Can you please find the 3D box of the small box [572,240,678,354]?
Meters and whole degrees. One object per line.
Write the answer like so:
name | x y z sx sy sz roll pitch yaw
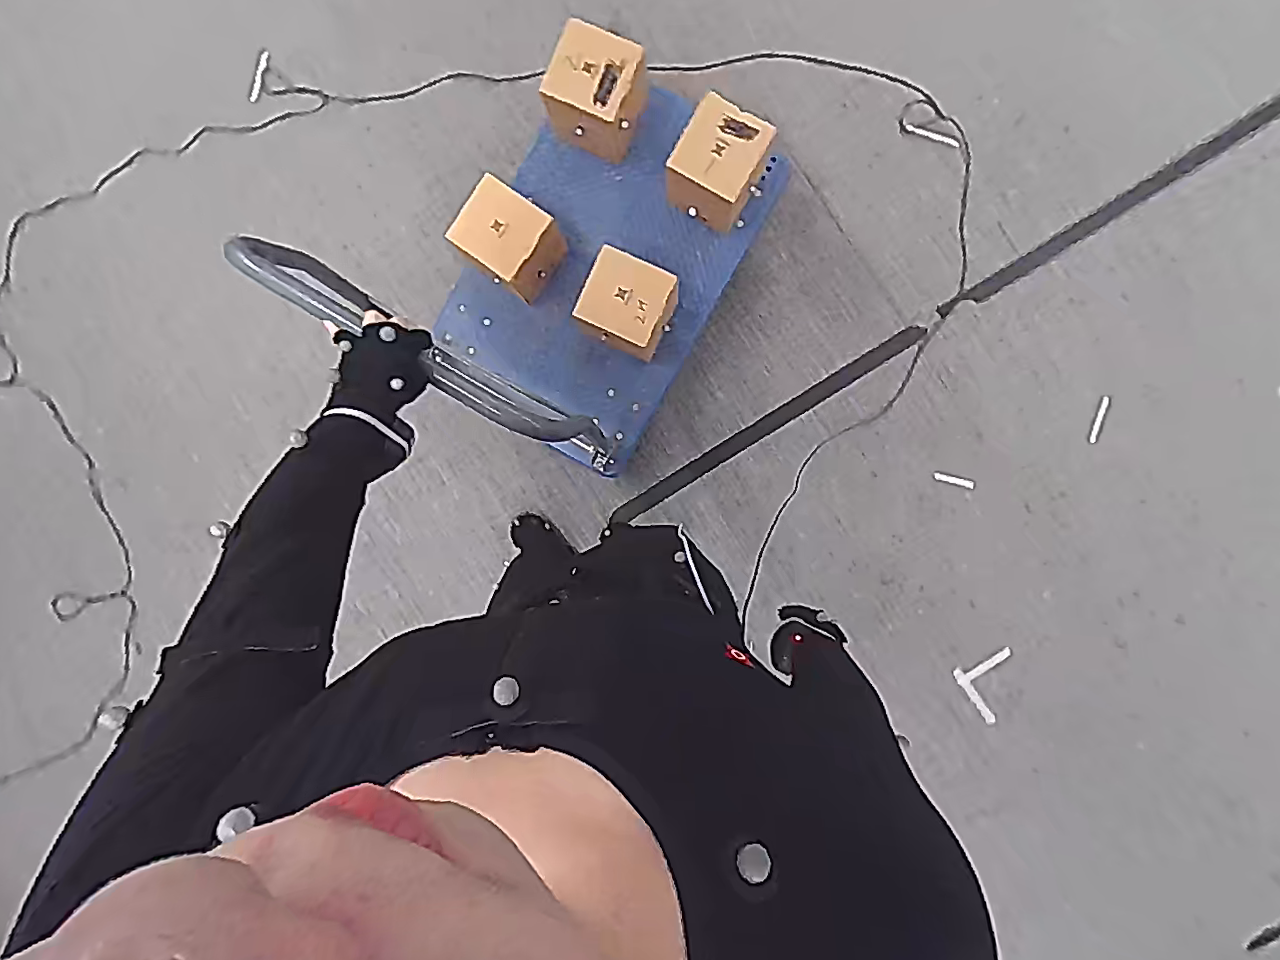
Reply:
small box | -0.027 -0.398 1.212 0.179 0.176 0.168 26 94 3

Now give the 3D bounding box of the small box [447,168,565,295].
small box | -0.294 -0.549 1.223 0.179 0.176 0.168 35 94 0

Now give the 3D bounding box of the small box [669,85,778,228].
small box | 0.174 -0.697 1.186 0.168 0.176 0.179 31 95 2
